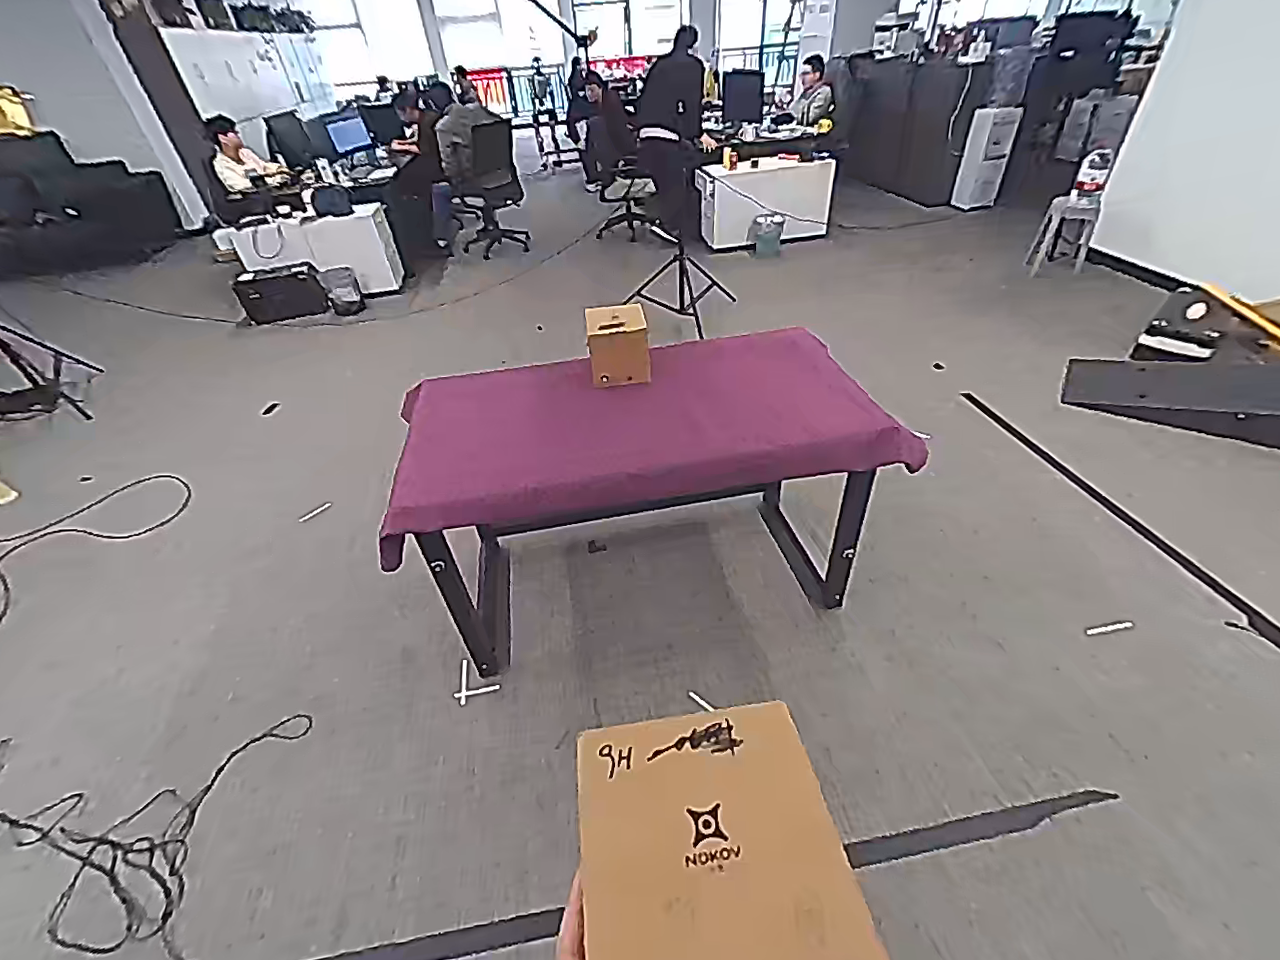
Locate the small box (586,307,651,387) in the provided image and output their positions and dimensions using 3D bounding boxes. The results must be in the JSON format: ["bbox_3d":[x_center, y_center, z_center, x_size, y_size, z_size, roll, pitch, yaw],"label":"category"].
[{"bbox_3d":[-0.062,-0.382,1.575,0.168,0.176,0.179,-7,40,-2],"label":"small box"}]

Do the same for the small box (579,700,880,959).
[{"bbox_3d":[0.050,0.297,0.398,0.168,0.176,0.179,-7,36,-4],"label":"small box"}]
